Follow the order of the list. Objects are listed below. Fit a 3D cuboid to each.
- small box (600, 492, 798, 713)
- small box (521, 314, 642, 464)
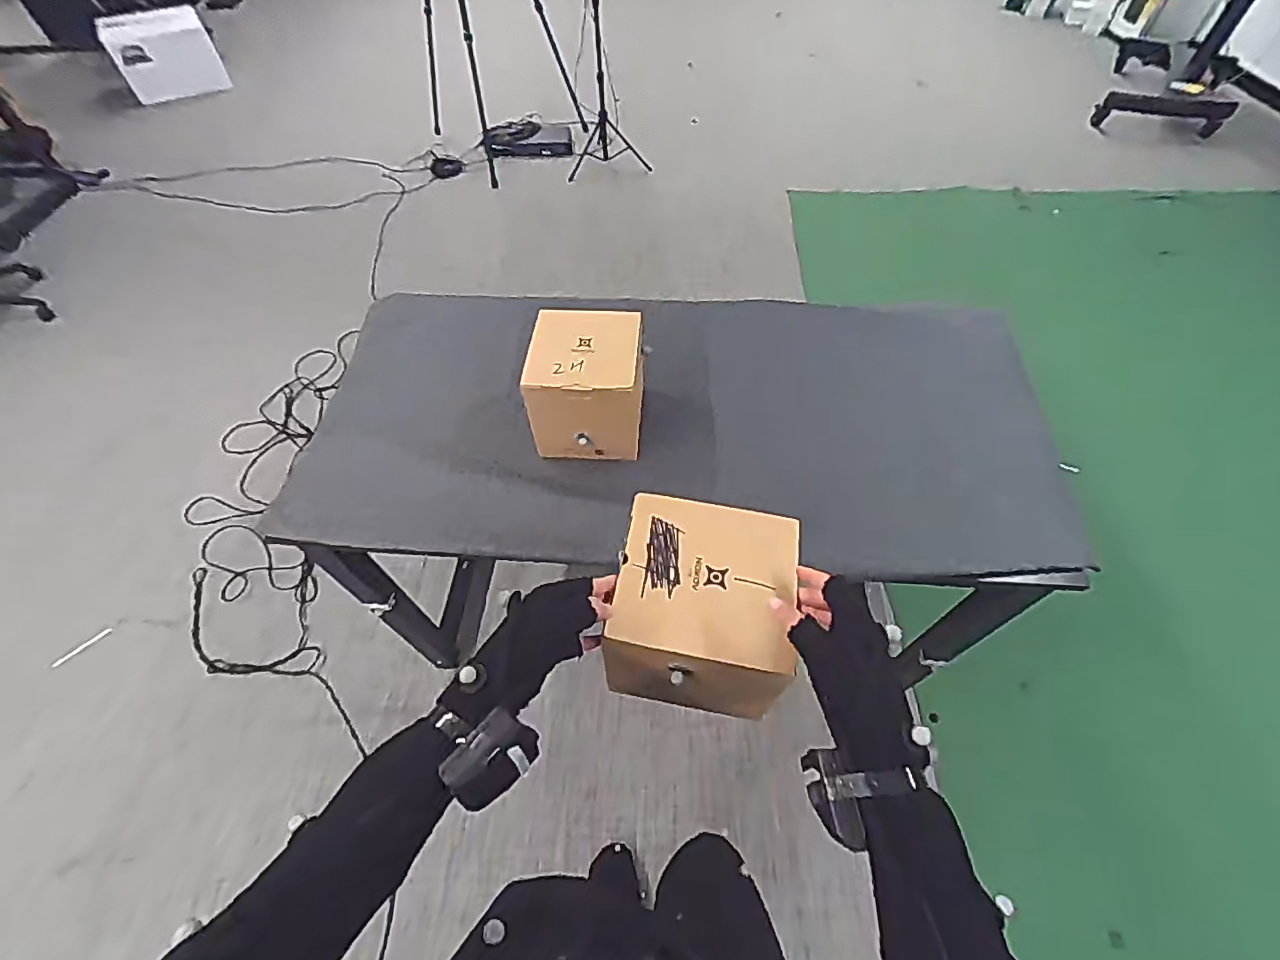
[{"bbox_3d":[0.062,0.138,0.591,0.179,0.176,0.168,11,54,6],"label":"small box"},{"bbox_3d":[-0.084,-0.147,0.885,0.168,0.176,0.179,2,54,3],"label":"small box"}]
